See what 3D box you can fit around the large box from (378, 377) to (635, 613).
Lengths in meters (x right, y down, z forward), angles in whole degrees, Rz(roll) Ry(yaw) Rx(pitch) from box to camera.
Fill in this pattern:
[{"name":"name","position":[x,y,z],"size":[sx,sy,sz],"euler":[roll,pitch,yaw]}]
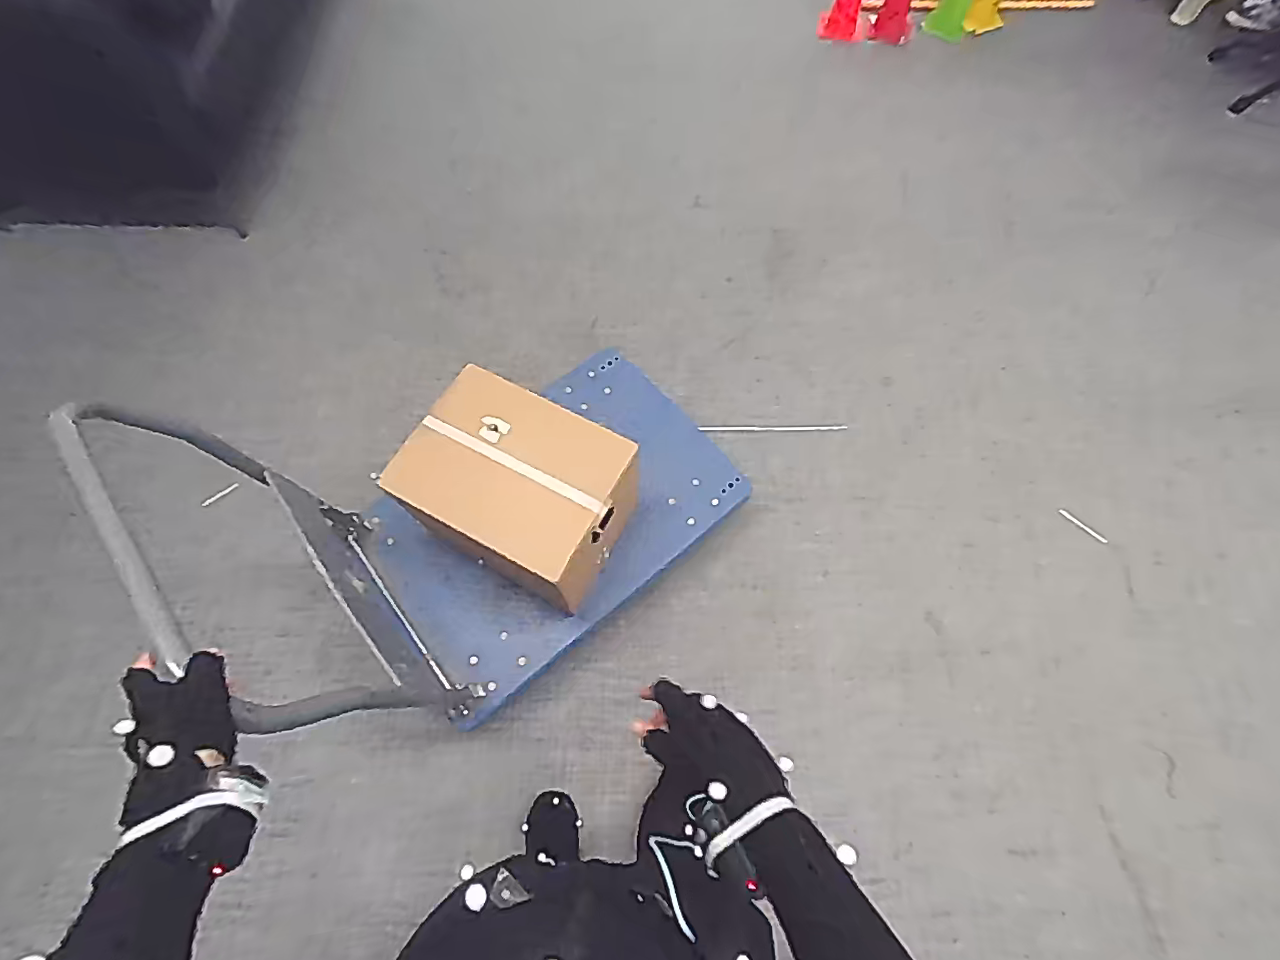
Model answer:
[{"name":"large box","position":[-0.254,0.045,1.180],"size":[0.408,0.320,0.320],"euler":[26,68,11]}]
